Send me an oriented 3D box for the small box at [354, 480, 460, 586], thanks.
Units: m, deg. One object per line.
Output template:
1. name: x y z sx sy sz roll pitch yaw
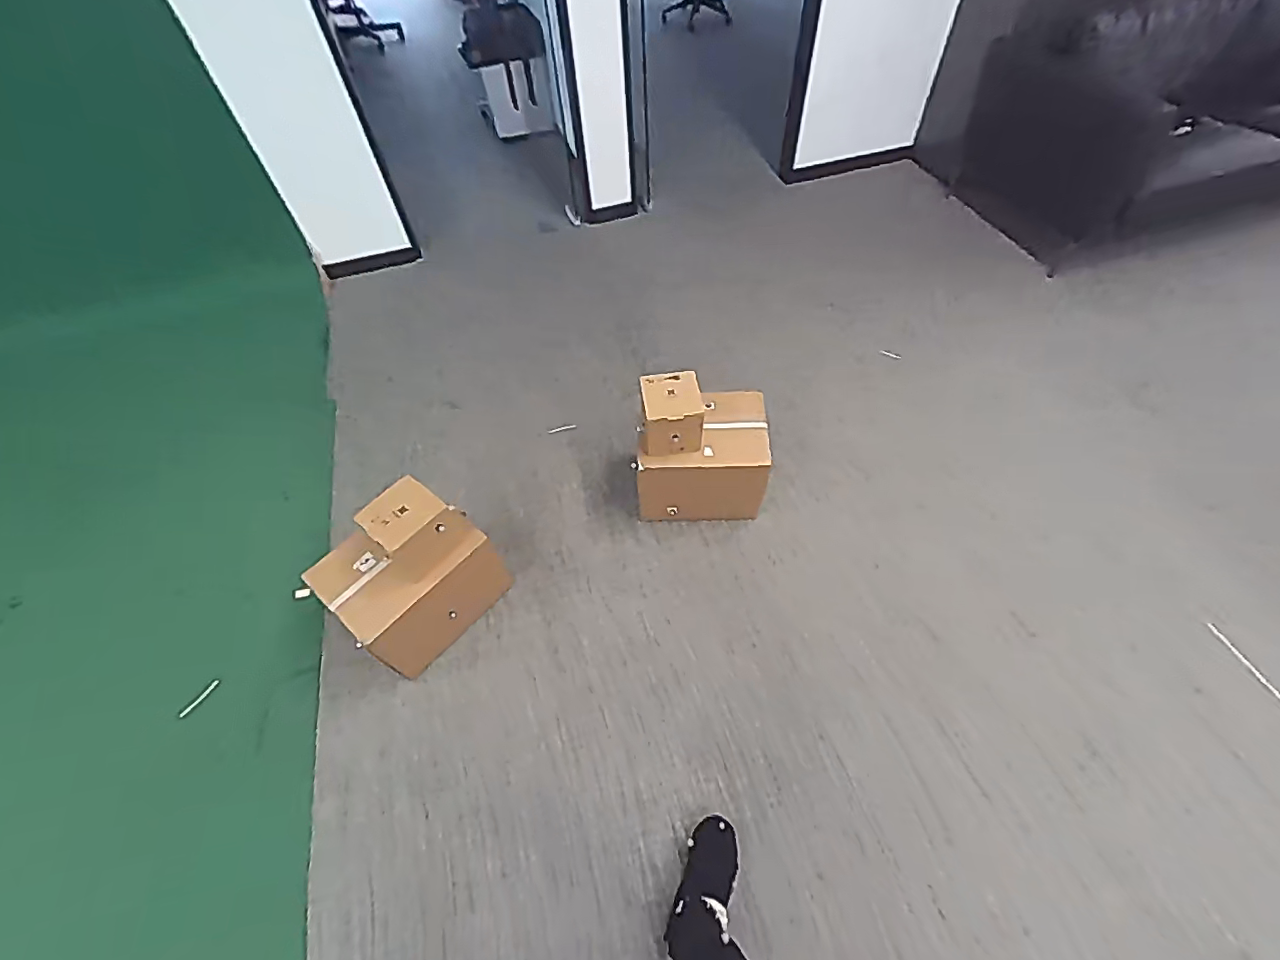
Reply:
1. small box: -0.595 0.140 1.412 0.168 0.176 0.179 33 62 24

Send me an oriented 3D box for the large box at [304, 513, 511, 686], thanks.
1. large box: -0.655 0.317 1.592 0.320 0.320 0.408 32 62 25

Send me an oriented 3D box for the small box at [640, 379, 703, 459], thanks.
1. small box: 0.092 -0.176 1.613 0.168 0.176 0.179 -6 55 -2
